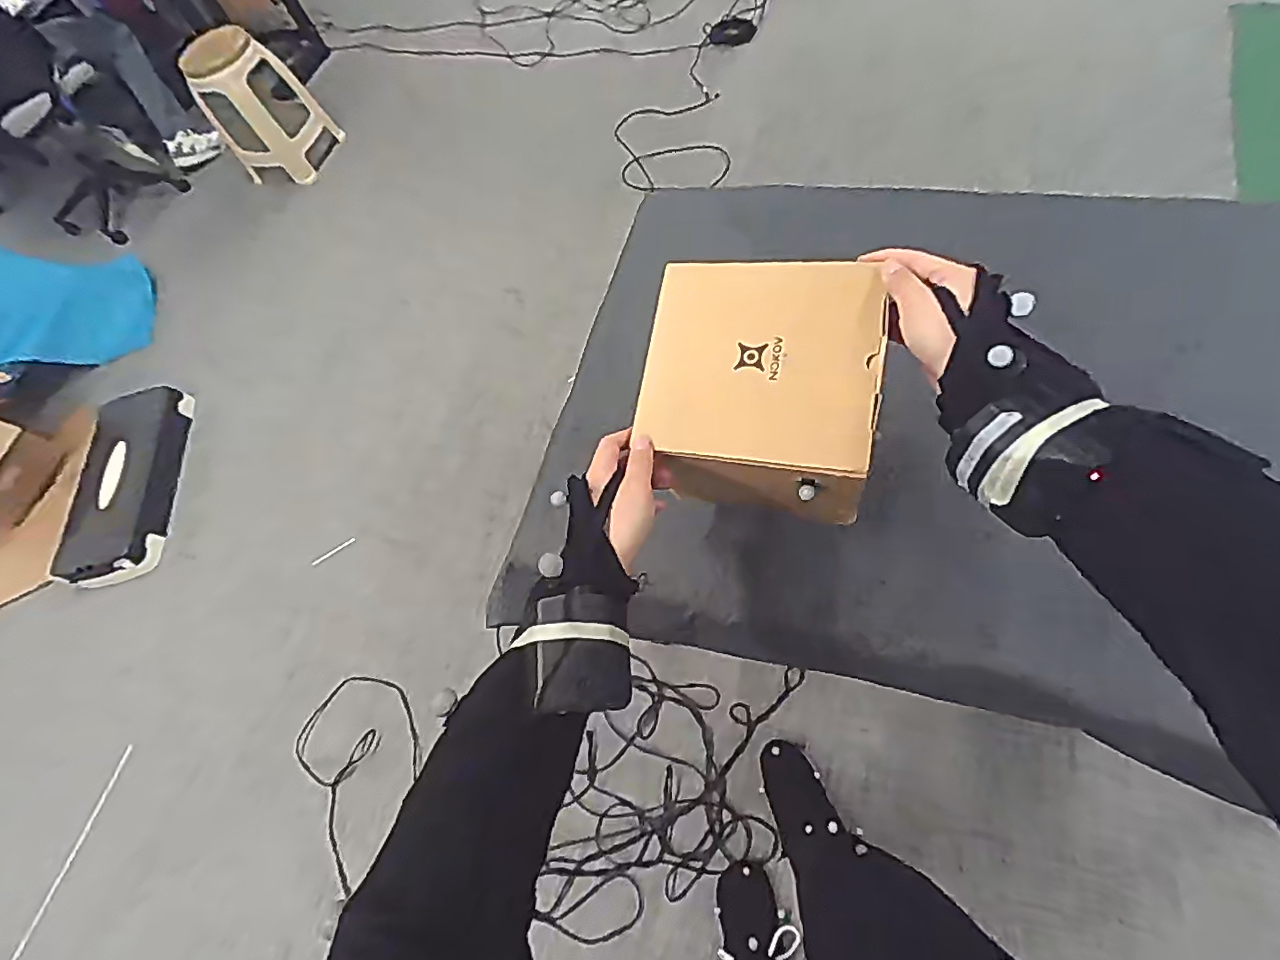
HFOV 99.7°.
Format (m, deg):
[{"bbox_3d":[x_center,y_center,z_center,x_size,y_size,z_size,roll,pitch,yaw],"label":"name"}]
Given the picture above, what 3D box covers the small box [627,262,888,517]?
[{"bbox_3d":[0.108,-0.070,0.481,0.179,0.176,0.168,7,76,18],"label":"small box"}]
